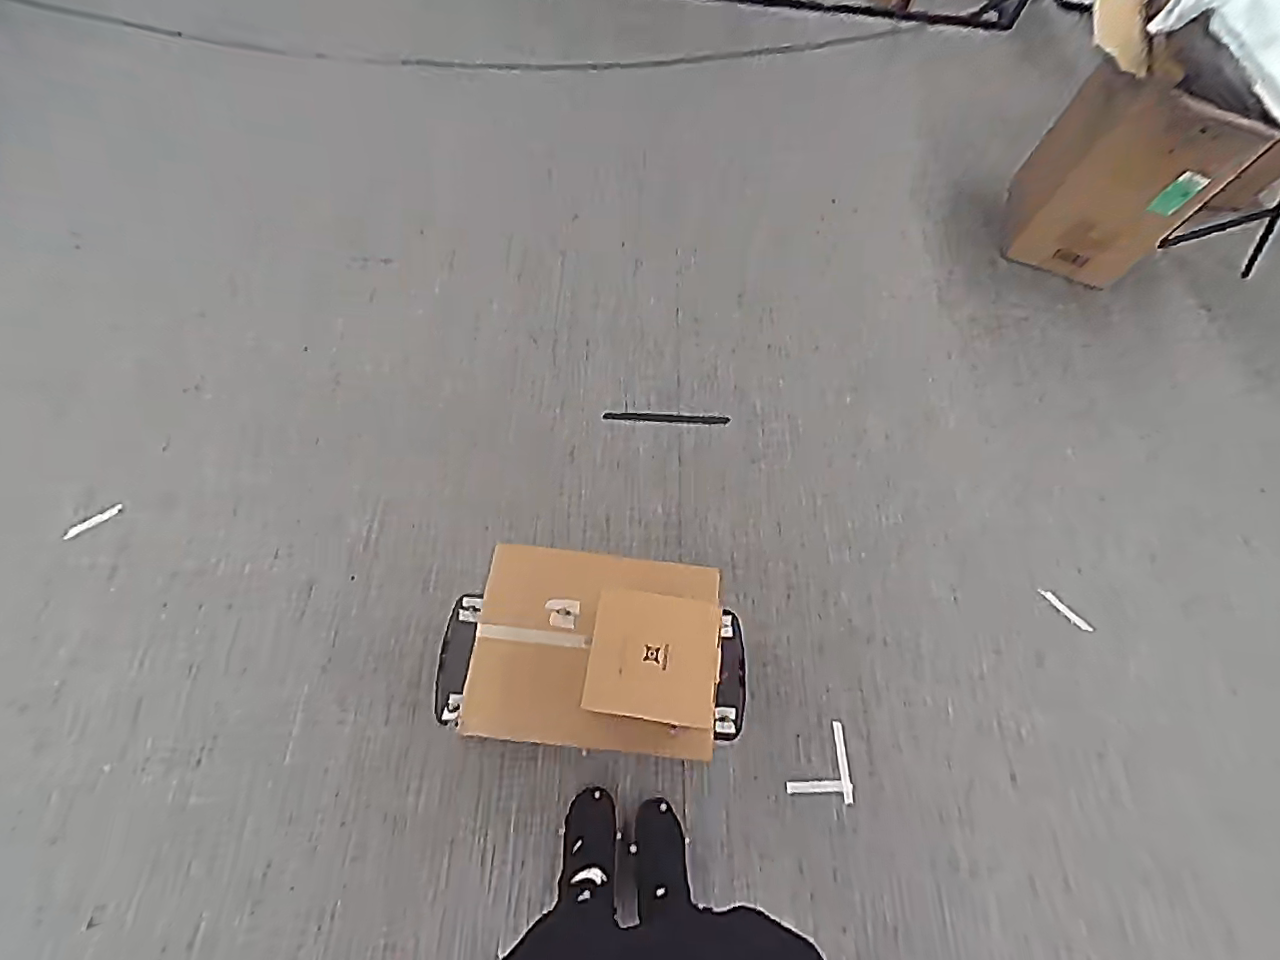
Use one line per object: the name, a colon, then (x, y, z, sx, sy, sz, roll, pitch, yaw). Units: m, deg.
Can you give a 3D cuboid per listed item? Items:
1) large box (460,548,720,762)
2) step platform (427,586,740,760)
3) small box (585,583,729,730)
large box: (-0.073, 0.337, 1.026, 0.408, 0.320, 0.320, 7, 64, 0)
step platform: (-0.117, 0.438, 1.239, 0.684, 0.204, 0.286, 8, 65, 0)
small box: (0.021, 0.263, 0.797, 0.179, 0.176, 0.168, 10, 65, 1)
